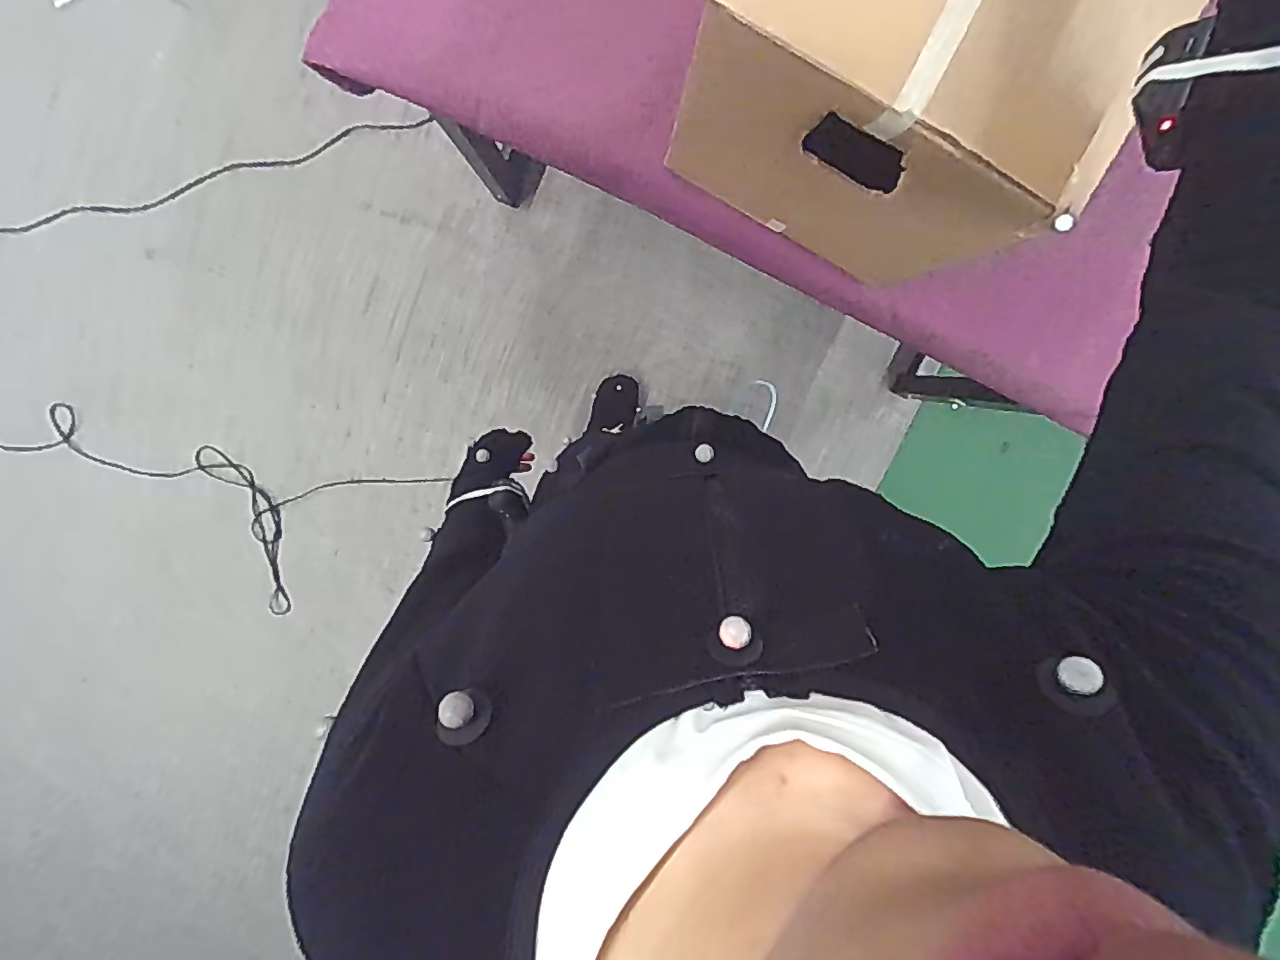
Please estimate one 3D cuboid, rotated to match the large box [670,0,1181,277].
[{"bbox_3d":[0.262,-0.469,0.514,0.320,0.320,0.408,26,100,-7],"label":"large box"}]
